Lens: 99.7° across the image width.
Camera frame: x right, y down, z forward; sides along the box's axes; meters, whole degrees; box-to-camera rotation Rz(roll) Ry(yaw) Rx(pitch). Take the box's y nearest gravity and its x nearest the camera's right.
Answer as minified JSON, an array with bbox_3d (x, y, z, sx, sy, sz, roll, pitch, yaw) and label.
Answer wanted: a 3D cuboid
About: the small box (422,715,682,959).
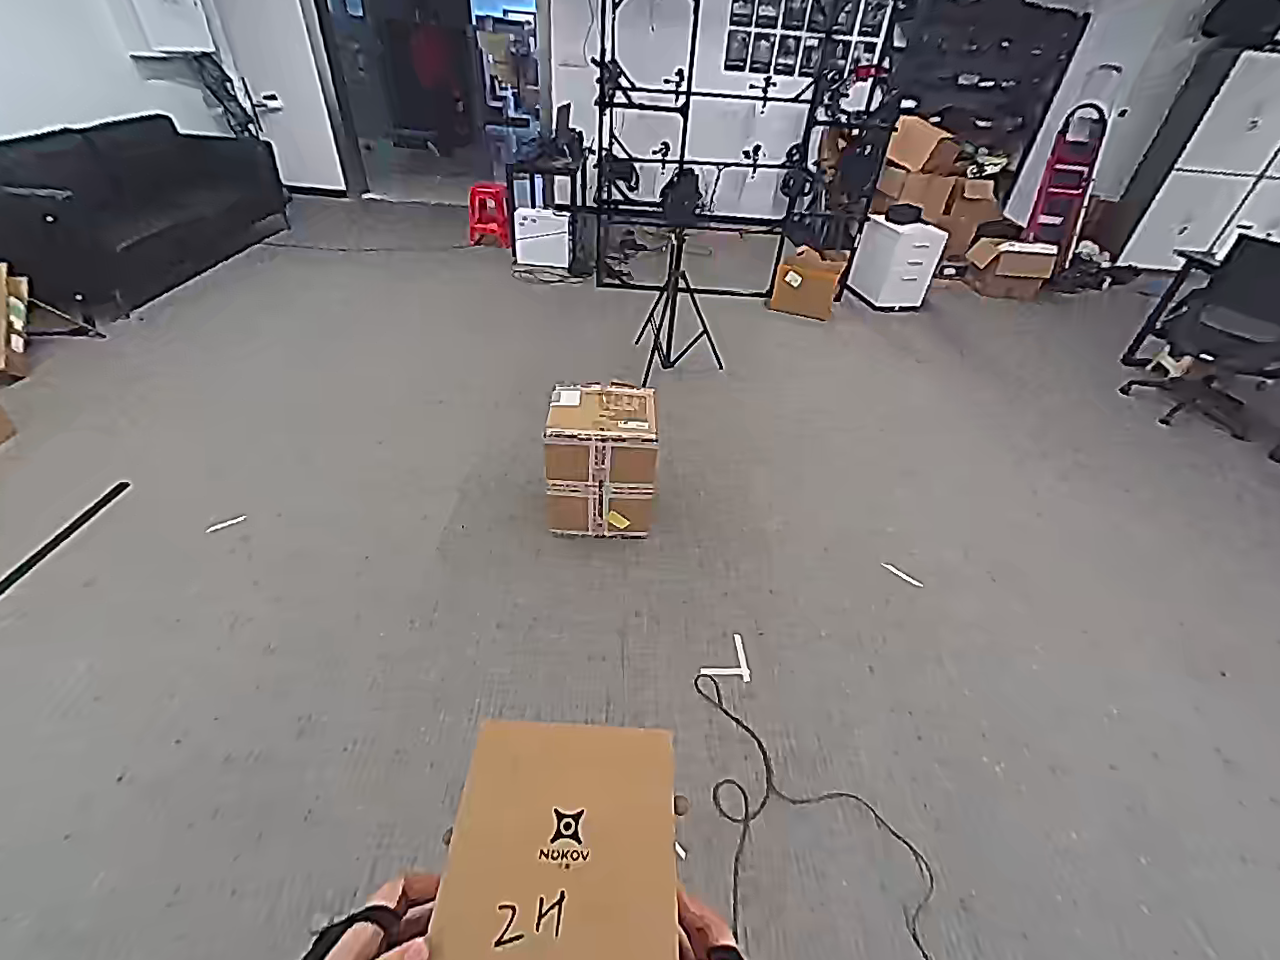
[{"bbox_3d":[-0.059,0.323,0.447,0.168,0.176,0.179,4,38,-2],"label":"small box"}]
